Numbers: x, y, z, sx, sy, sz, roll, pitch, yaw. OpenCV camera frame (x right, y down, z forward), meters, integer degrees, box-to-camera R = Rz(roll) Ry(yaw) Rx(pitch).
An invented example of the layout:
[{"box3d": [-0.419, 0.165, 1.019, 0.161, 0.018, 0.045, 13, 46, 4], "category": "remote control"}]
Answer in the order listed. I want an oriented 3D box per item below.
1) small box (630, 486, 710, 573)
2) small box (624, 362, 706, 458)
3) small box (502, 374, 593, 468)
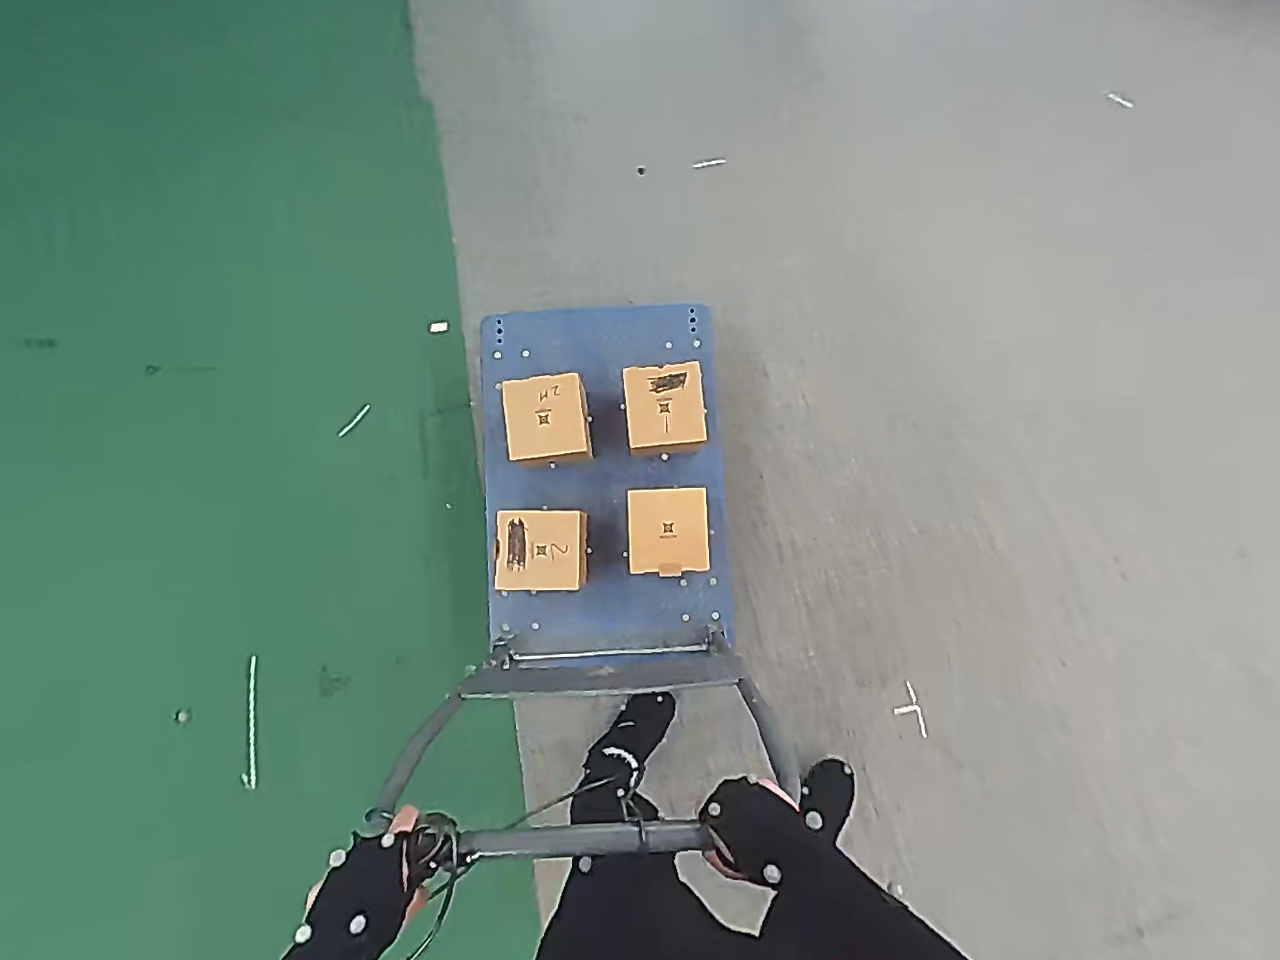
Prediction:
[{"box3d": [0.061, 0.111, 1.197, 0.168, 0.176, 0.179, -3, 85, 1], "category": "small box"}, {"box3d": [0.053, -0.153, 1.223, 0.168, 0.176, 0.179, -6, 85, 1], "category": "small box"}, {"box3d": [-0.203, -0.125, 1.224, 0.168, 0.176, 0.179, -7, 84, -1], "category": "small box"}]
